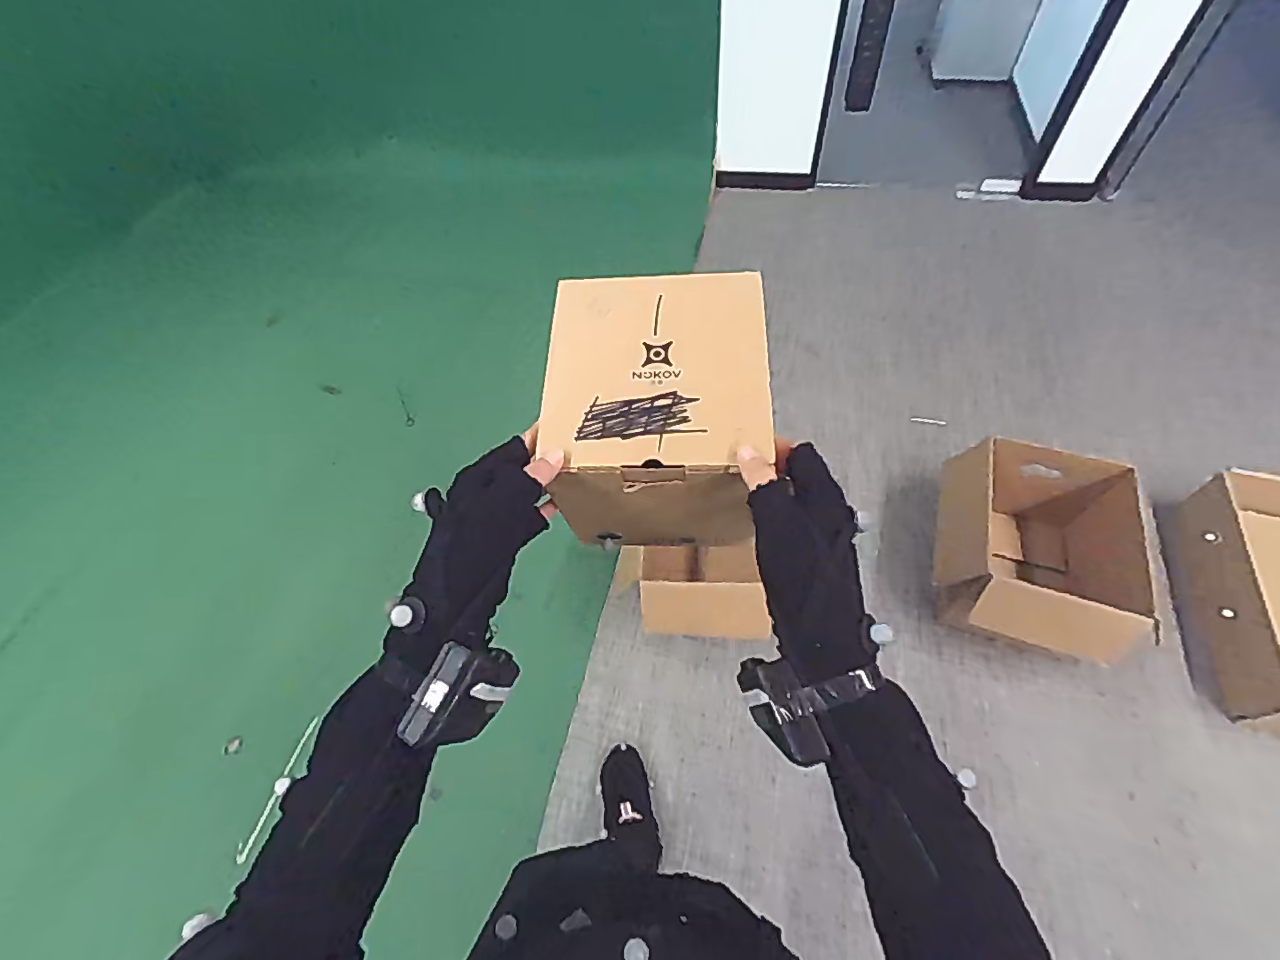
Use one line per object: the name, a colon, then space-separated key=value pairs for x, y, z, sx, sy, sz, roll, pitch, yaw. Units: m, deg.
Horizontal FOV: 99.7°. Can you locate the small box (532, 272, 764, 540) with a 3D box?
small box: x=0.018 y=-0.053 z=0.477 sx=0.168 sy=0.176 sz=0.179 roll=0 pitch=63 yaw=6
